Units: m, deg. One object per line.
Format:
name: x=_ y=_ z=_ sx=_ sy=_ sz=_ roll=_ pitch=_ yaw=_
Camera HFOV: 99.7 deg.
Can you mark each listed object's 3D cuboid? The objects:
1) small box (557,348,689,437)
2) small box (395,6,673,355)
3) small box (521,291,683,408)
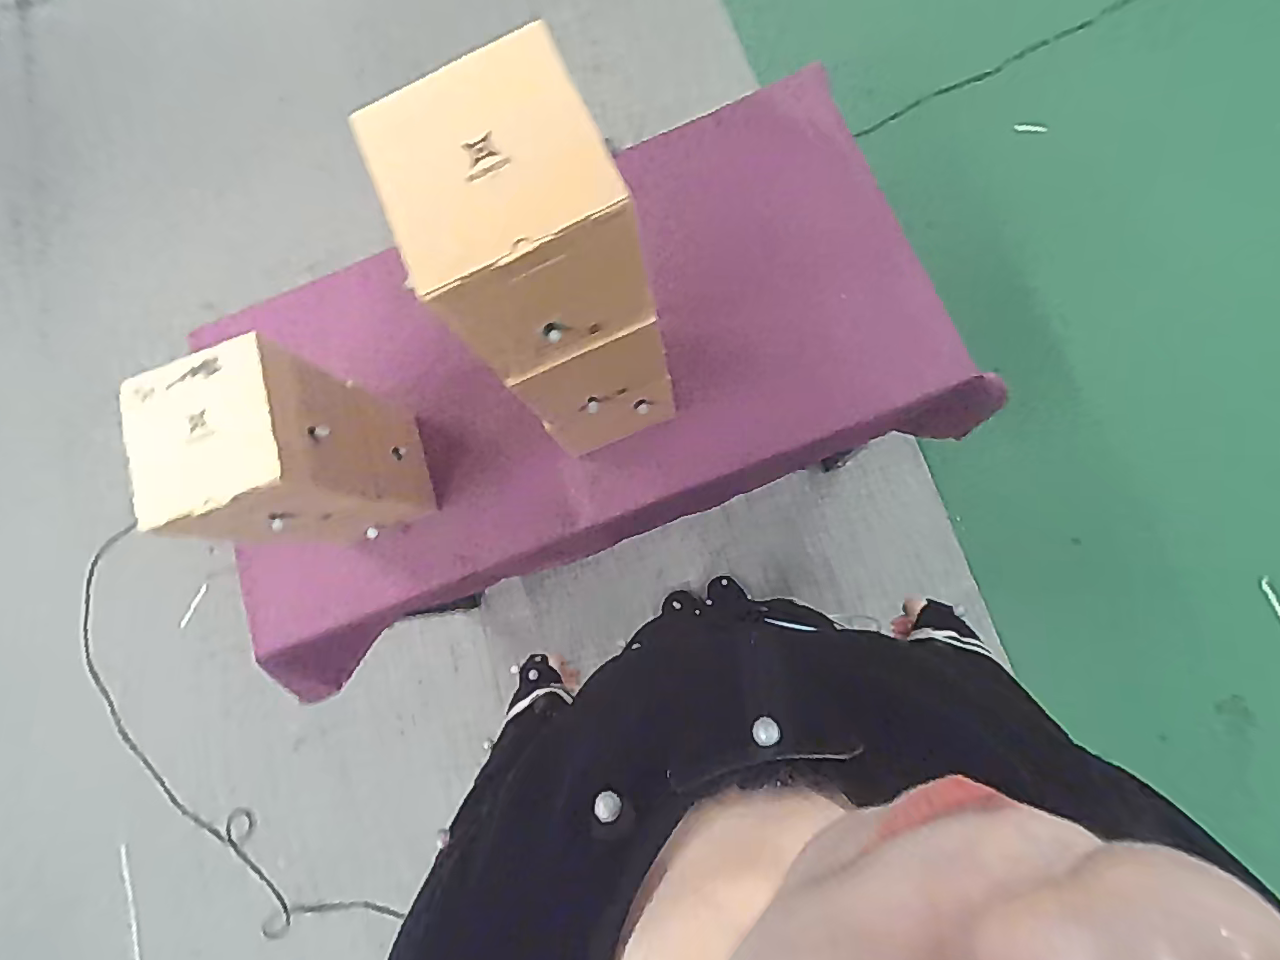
small box: x=-0.034 y=-0.179 z=0.792 sx=0.179 sy=0.176 sz=0.168 roll=-18 pitch=78 yaw=3
small box: x=-0.077 y=-0.241 z=0.476 sx=0.168 sy=0.176 sz=0.179 roll=-21 pitch=79 yaw=3
small box: x=-0.054 y=-0.208 z=0.633 sx=0.168 sy=0.176 sz=0.179 roll=-19 pitch=79 yaw=4
